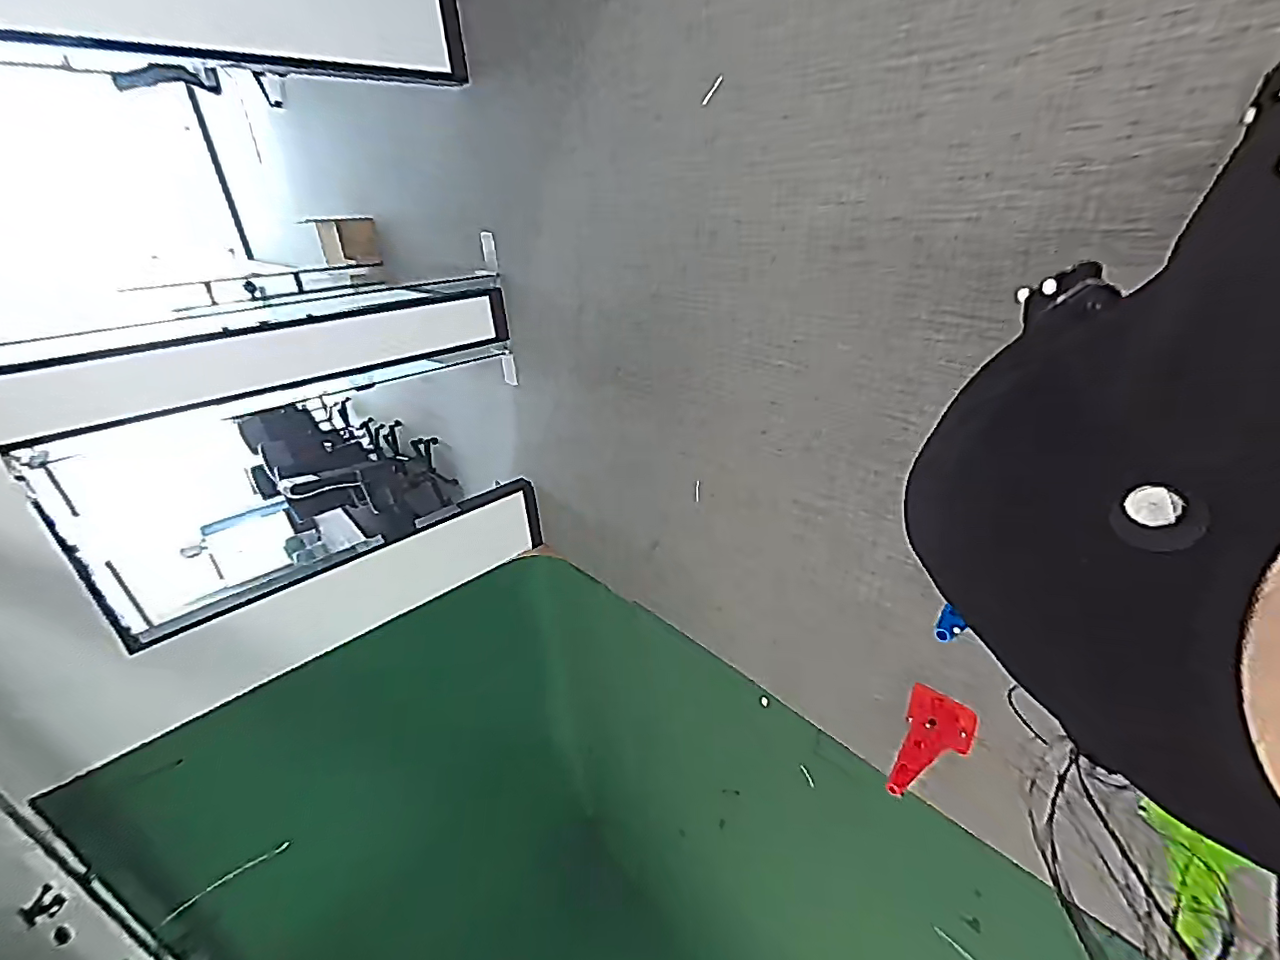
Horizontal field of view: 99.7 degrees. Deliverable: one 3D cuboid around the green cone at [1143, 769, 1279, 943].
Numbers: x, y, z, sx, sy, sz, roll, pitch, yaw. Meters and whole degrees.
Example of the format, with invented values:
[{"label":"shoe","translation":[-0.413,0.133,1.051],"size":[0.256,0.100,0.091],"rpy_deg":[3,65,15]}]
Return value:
[{"label":"green cone","translation":[1.276,0.890,1.229],"size":[0.200,0.368,0.202],"rpy_deg":[27,129,40]}]
